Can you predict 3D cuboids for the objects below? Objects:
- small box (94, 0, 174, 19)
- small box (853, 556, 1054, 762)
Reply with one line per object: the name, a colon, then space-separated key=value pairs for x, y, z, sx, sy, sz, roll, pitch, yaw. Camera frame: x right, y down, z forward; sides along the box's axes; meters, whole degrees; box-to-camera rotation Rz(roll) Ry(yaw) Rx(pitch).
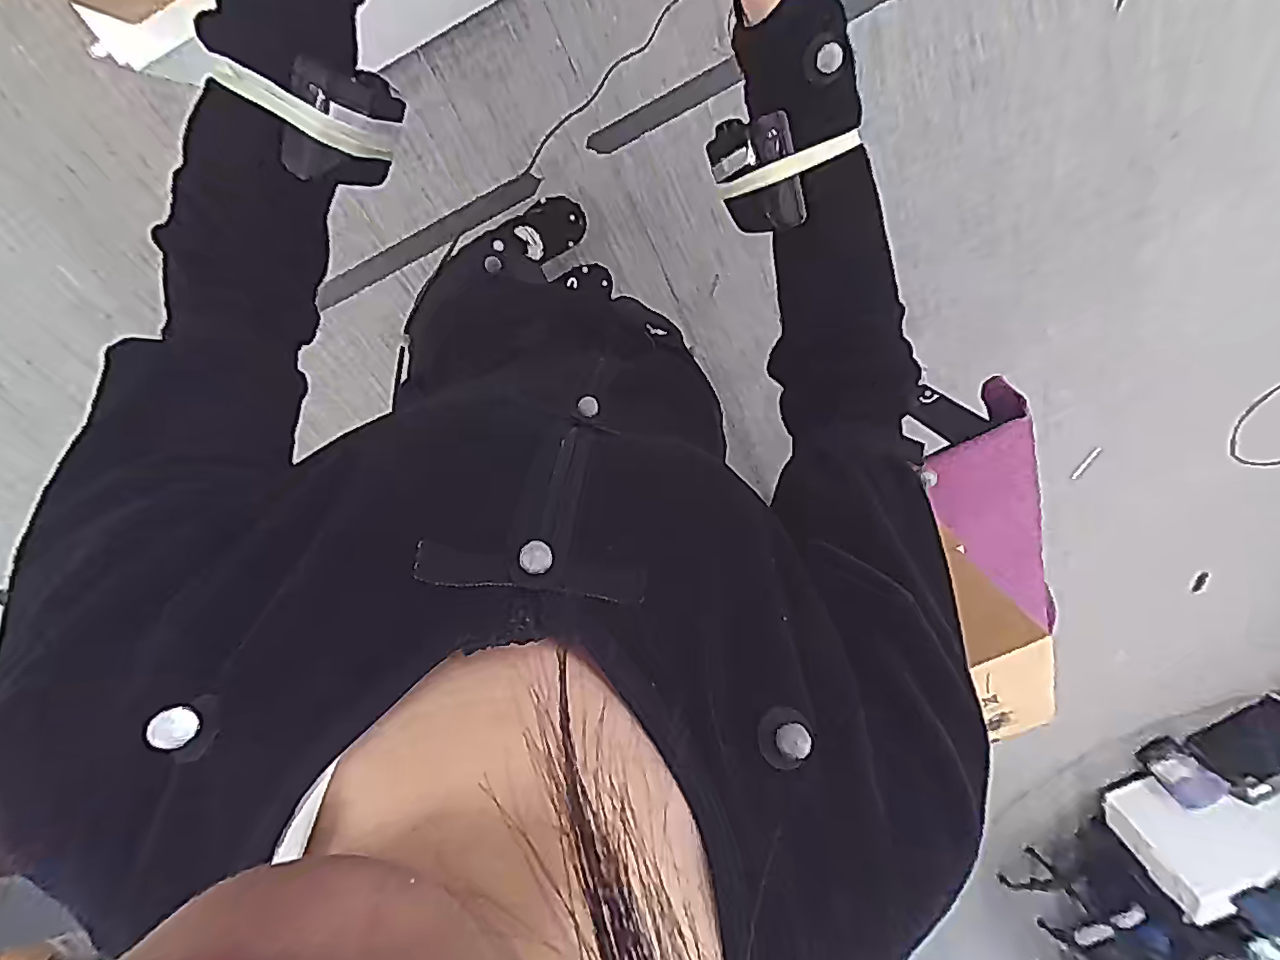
small box: x=-0.489 y=-0.547 z=0.456 sx=0.168 sy=0.176 sz=0.179 roll=-26 pitch=120 yaw=5
small box: x=0.414 y=0.236 z=0.733 sx=0.168 sy=0.176 sz=0.179 roll=-24 pitch=121 yaw=4
